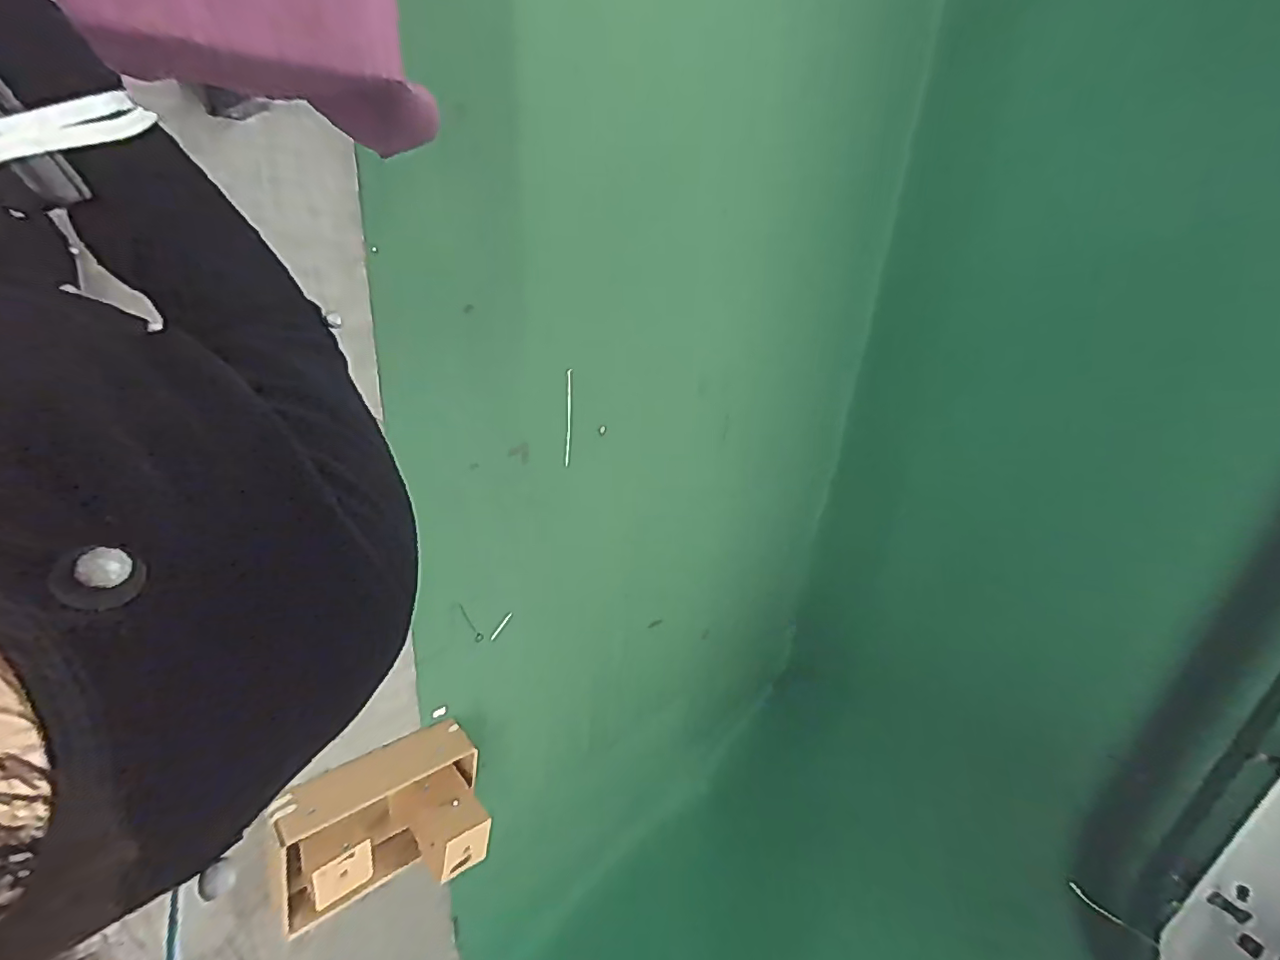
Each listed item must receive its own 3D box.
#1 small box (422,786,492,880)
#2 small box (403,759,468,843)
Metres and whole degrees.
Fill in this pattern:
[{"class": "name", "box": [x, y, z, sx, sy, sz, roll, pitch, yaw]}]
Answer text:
[{"class": "small box", "box": [-0.635, 1.206, 1.863, 0.168, 0.176, 0.179, -4, 111, -47]}, {"class": "small box", "box": [-0.749, 1.155, 1.970, 0.168, 0.176, 0.179, -6, 113, -46]}]
